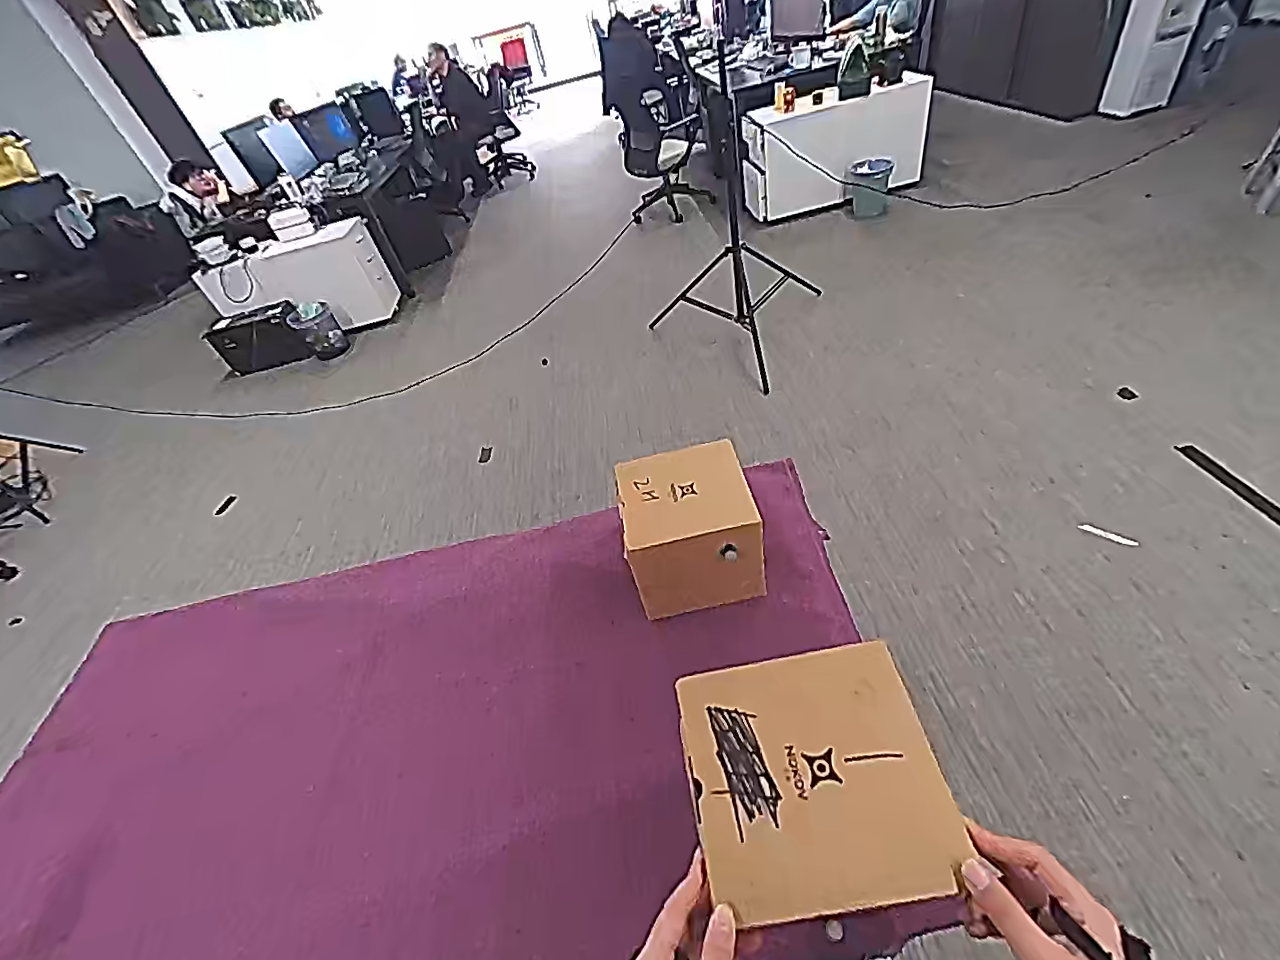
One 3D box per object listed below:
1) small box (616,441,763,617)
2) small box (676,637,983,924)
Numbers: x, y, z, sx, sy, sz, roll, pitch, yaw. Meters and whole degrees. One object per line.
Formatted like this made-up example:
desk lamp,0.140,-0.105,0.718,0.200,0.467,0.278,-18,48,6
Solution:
small box,0.072,0.073,0.779,0.179,0.176,0.168,-13,43,3
small box,0.140,0.256,0.453,0.179,0.176,0.168,-13,49,5
